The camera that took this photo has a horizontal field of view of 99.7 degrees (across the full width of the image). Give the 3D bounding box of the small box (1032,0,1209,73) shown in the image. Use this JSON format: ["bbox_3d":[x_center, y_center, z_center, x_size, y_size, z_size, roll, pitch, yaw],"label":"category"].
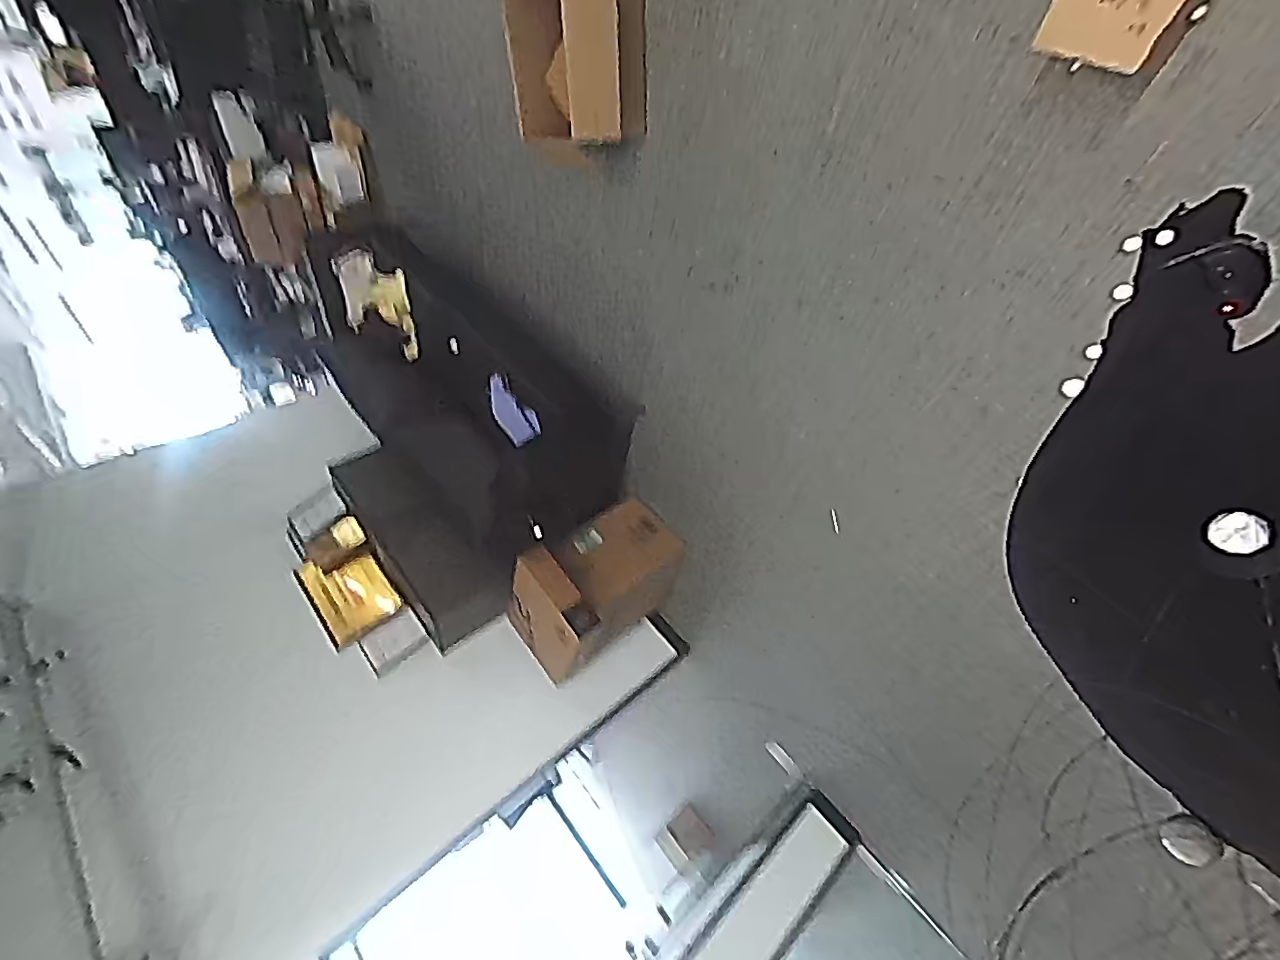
[{"bbox_3d":[0.810,-0.792,0.890,0.179,0.176,0.168,42,145,26],"label":"small box"}]
